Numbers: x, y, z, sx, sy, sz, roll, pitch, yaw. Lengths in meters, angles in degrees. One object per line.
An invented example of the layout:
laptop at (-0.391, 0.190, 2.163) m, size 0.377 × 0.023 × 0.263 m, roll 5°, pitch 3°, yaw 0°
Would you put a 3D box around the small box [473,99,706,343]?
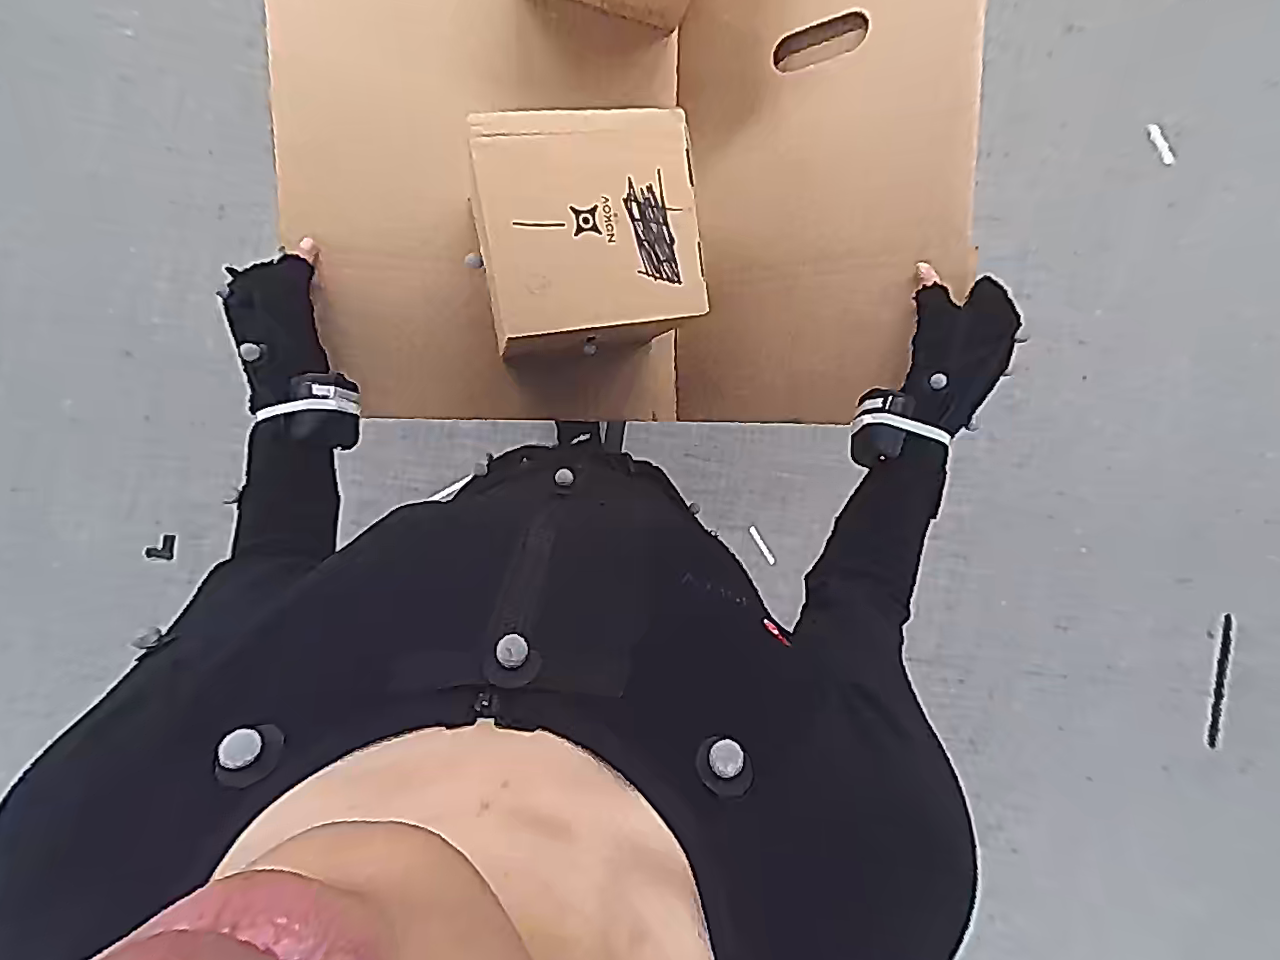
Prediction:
small box at (-0.055, -0.230, 0.516) m, size 0.179 × 0.176 × 0.168 m, roll -11°, pitch 100°, yaw -13°
